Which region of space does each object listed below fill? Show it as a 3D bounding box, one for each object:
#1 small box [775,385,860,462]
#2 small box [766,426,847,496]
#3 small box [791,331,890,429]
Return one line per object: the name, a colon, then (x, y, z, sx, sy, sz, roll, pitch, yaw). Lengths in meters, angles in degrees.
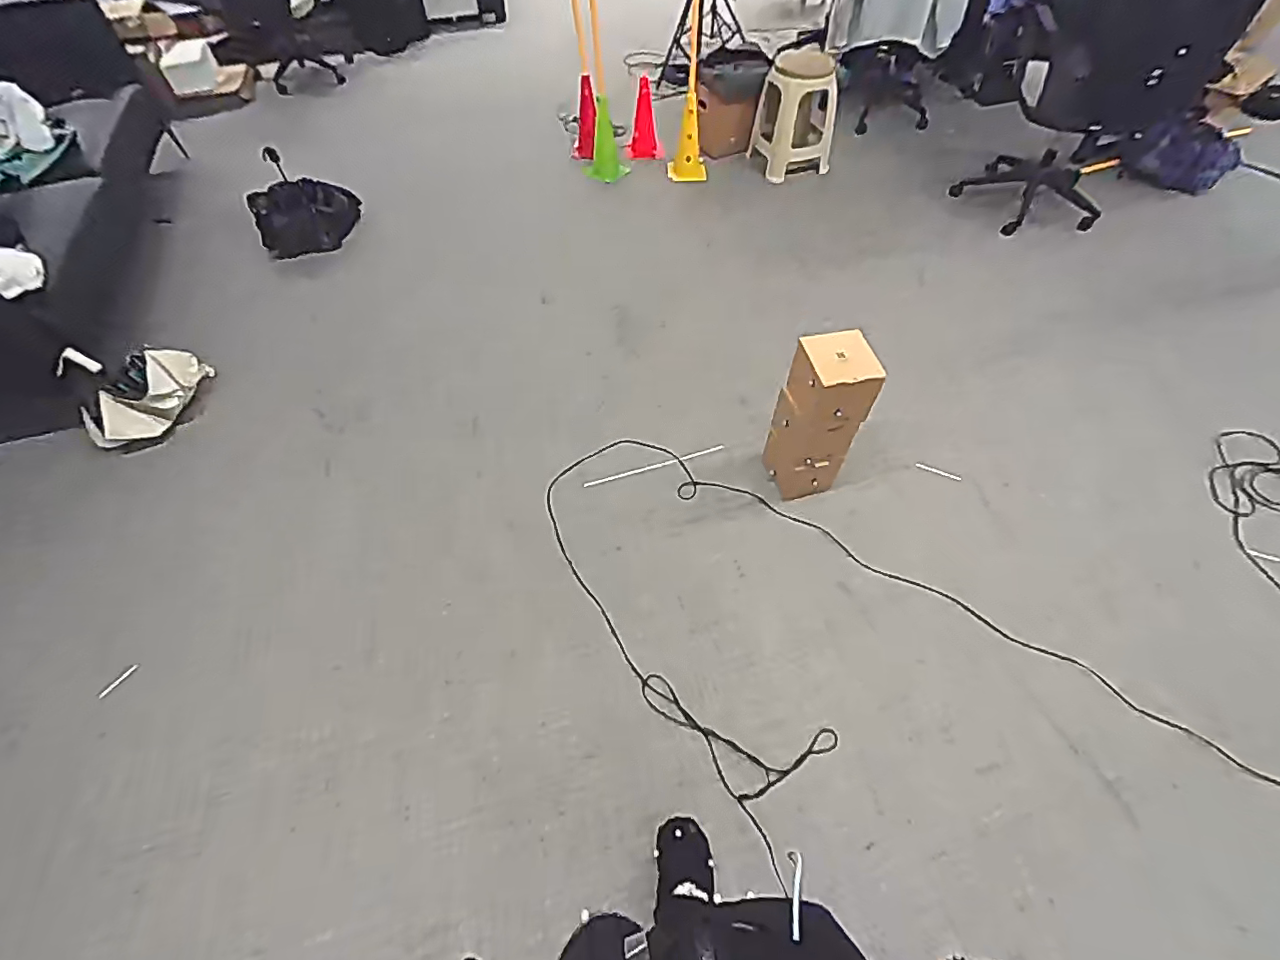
small box: (0.503, -0.168, 1.541, 0.168, 0.176, 0.179, -13, 56, -8)
small box: (0.507, -0.069, 1.672, 0.168, 0.176, 0.179, -14, 58, -8)
small box: (0.509, -0.259, 1.407, 0.168, 0.176, 0.179, -9, 57, -5)
